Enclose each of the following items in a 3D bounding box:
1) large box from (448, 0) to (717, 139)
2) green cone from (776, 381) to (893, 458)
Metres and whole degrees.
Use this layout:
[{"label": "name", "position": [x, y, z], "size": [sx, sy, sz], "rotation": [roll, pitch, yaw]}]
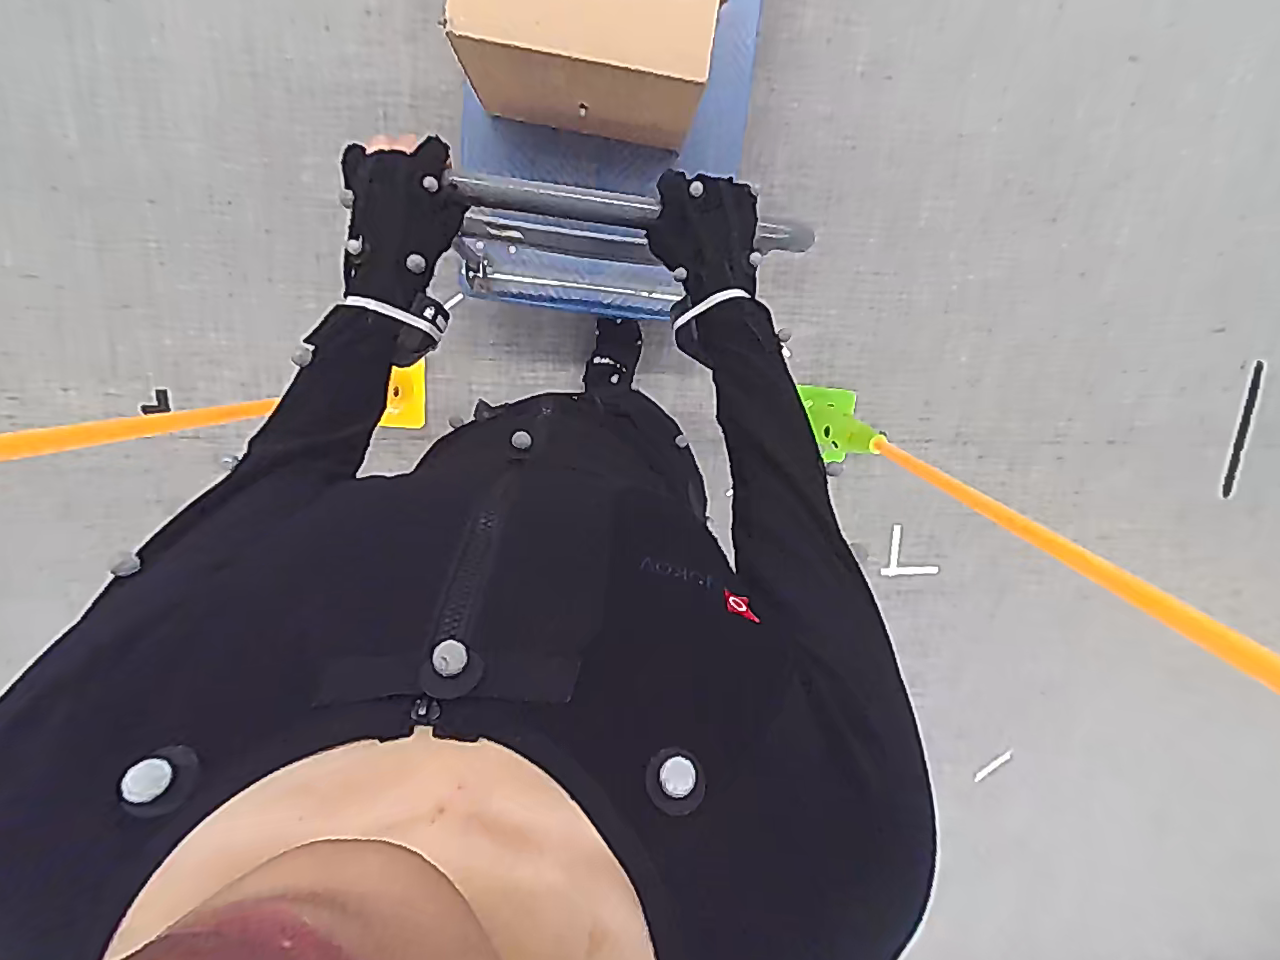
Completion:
[{"label": "large box", "position": [-0.080, -0.837, 0.936], "size": [0.408, 0.320, 0.320], "rotation": [7, 104, -5]}, {"label": "green cone", "position": [0.490, -0.121, 1.299], "size": [0.202, 0.368, 0.200], "rotation": [4, 104, -6]}]
